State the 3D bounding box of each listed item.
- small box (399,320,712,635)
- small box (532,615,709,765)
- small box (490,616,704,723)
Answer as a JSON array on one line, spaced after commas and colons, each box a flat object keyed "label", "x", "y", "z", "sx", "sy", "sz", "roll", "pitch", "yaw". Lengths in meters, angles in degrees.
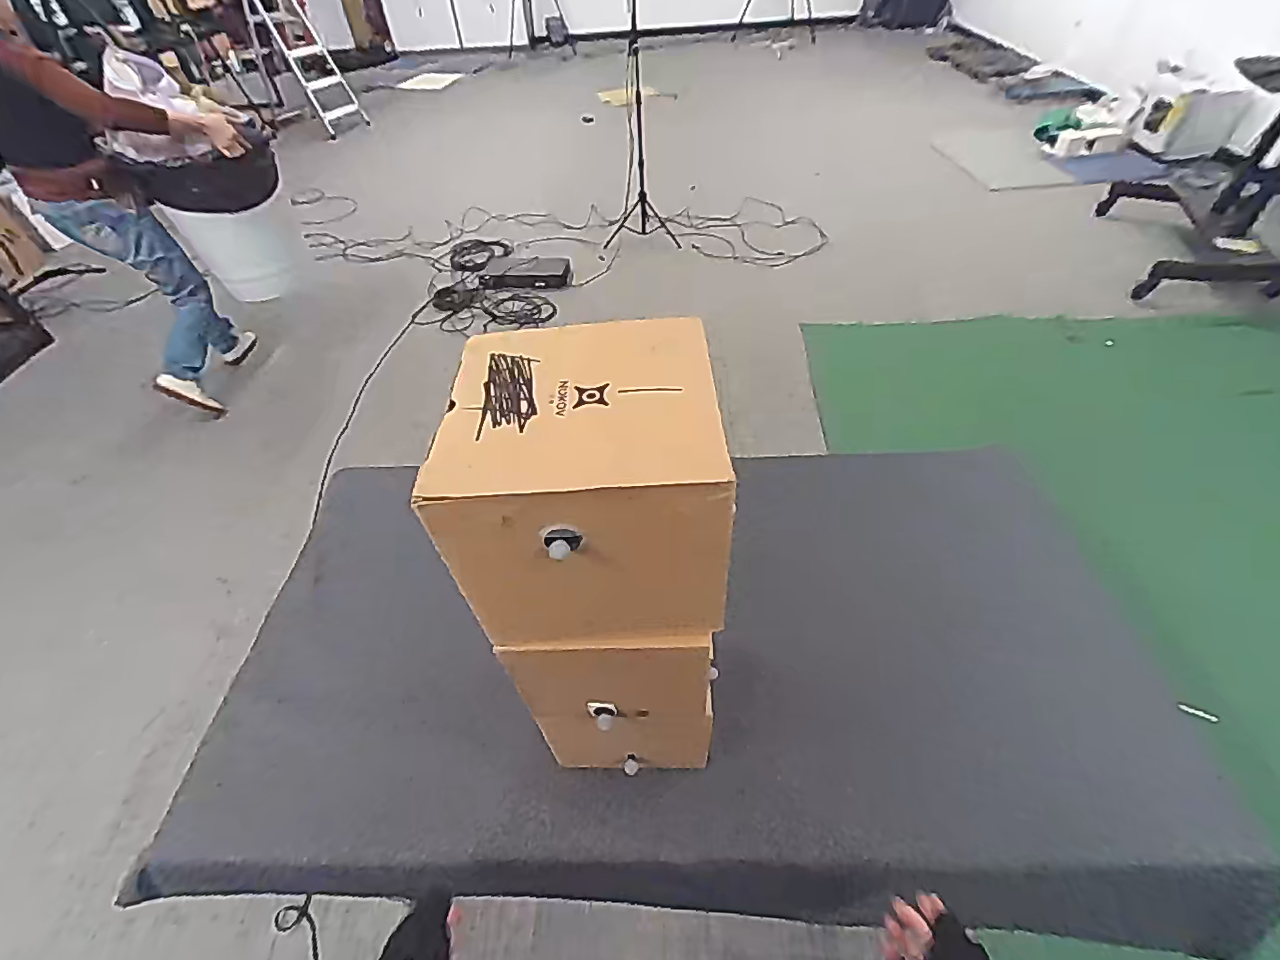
[{"label": "small box", "x": -0.040, "y": 0.003, "z": 0.402, "sx": 0.179, "sy": 0.176, "sz": 0.168, "roll": -3, "pitch": 47, "yaw": 3}, {"label": "small box", "x": -0.015, "y": 0.225, "z": 0.640, "sx": 0.179, "sy": 0.176, "sz": 0.168, "roll": -1, "pitch": 47, "yaw": 3}, {"label": "small box", "x": -0.026, "y": 0.116, "z": 0.521, "sx": 0.168, "sy": 0.176, "sz": 0.179, "roll": -3, "pitch": 48, "yaw": 5}]
